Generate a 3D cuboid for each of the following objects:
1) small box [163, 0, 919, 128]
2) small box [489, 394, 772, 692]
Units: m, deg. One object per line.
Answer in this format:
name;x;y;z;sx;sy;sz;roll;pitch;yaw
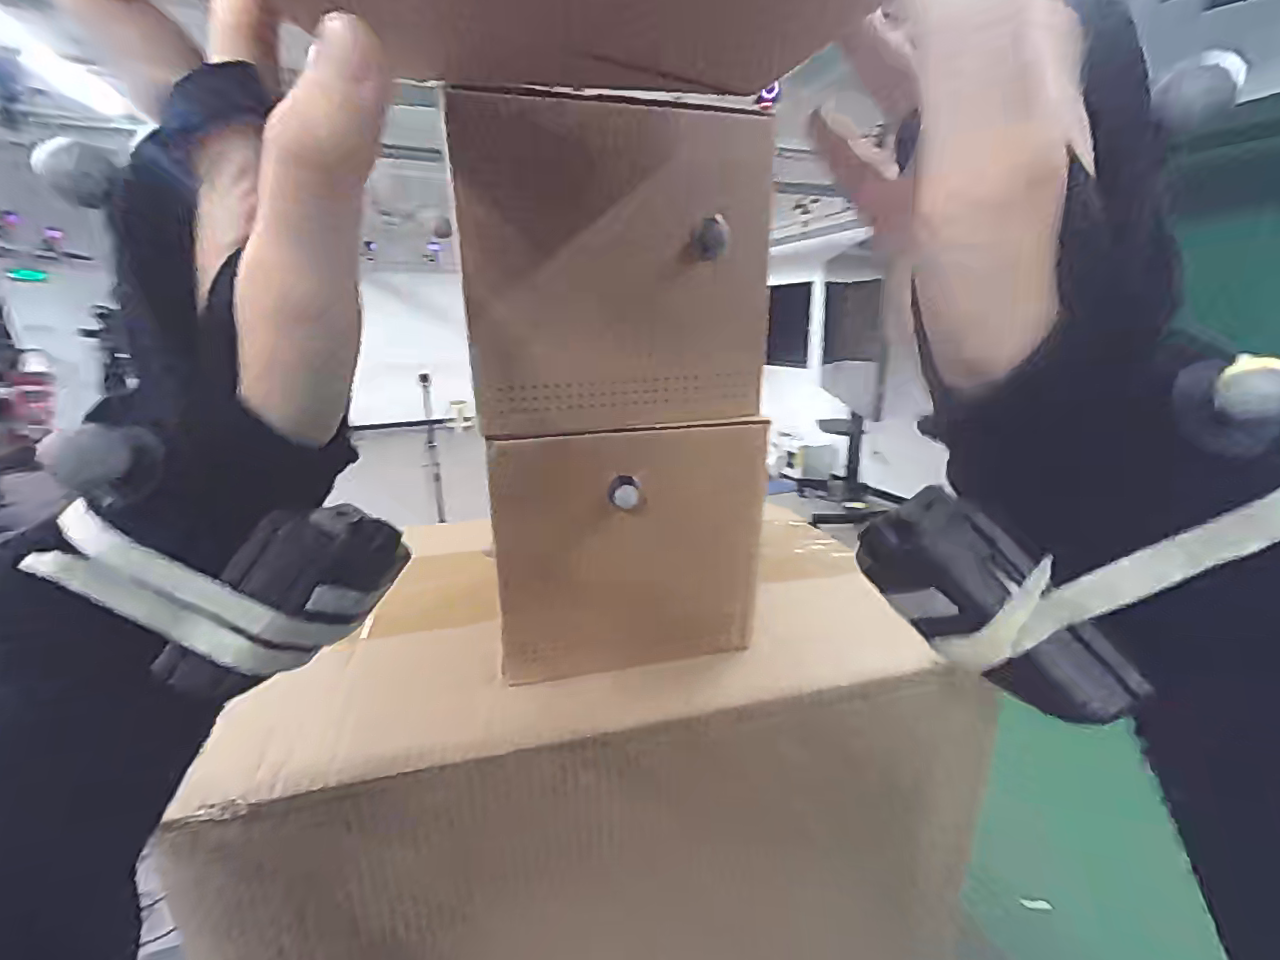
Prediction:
small box;-0.017;-0.202;0.141;0.179;0.176;0.168;-1;26;-6
small box;-0.018;0.034;0.418;0.179;0.176;0.168;-5;19;-13
